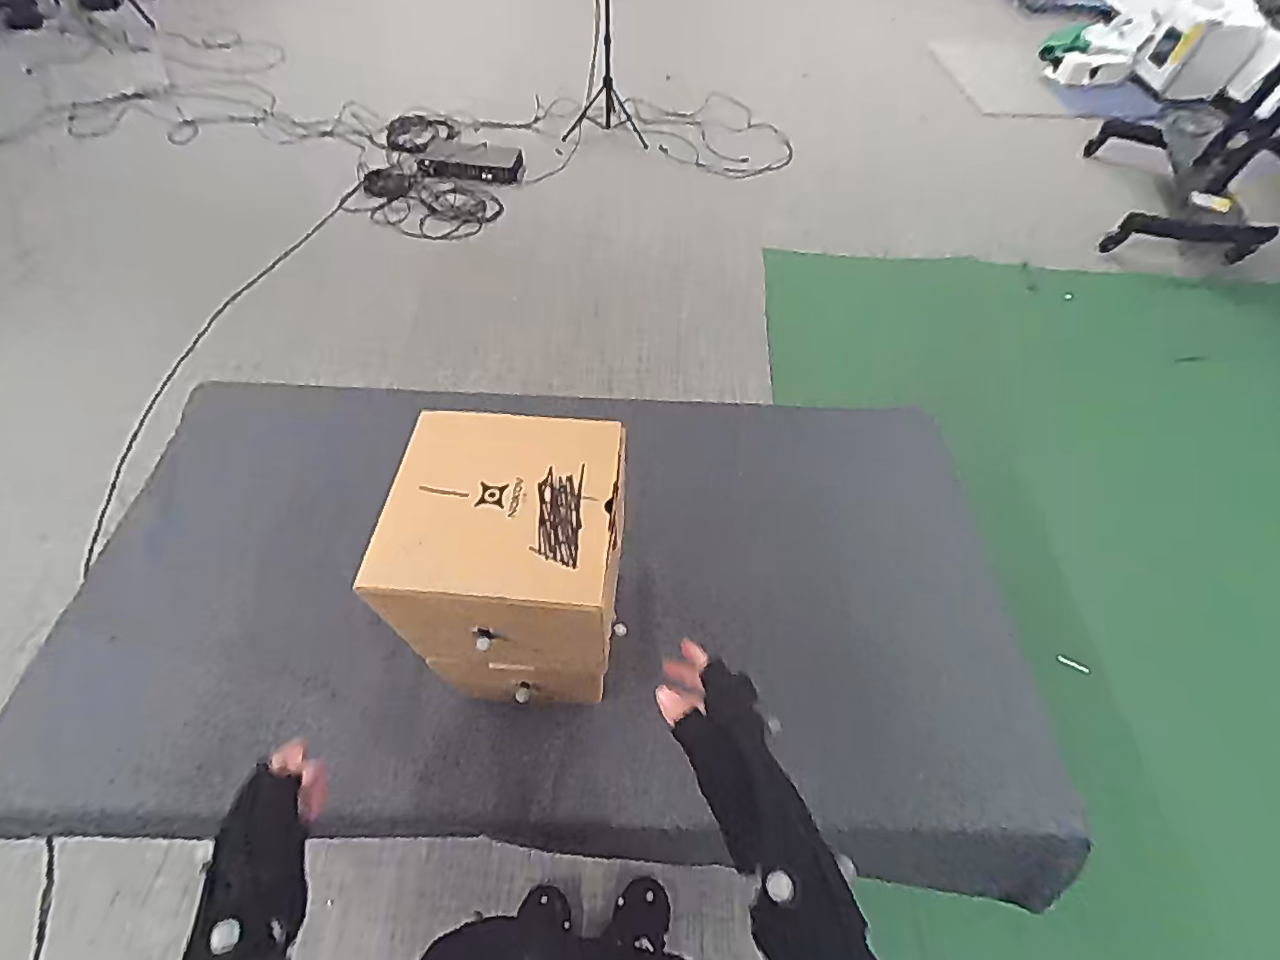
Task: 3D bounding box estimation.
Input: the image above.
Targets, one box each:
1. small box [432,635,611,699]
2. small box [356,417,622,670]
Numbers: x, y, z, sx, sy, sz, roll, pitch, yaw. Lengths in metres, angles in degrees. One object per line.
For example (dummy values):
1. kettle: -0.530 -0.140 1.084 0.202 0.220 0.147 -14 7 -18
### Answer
1. small box: -0.118 0.150 0.626 0.168 0.176 0.179 1 57 -1
2. small box: -0.108 0.064 0.484 0.179 0.176 0.168 3 55 2
